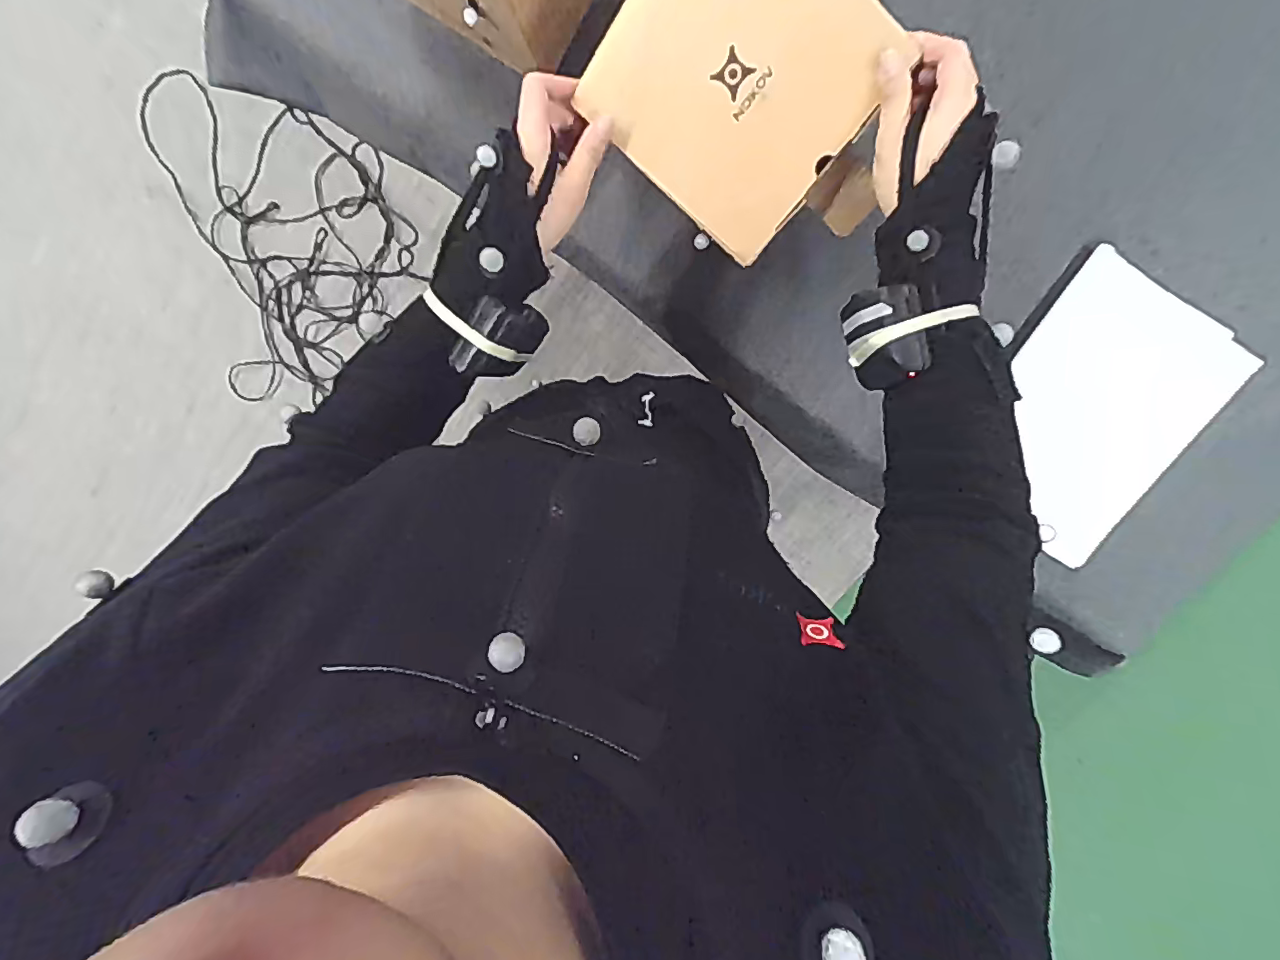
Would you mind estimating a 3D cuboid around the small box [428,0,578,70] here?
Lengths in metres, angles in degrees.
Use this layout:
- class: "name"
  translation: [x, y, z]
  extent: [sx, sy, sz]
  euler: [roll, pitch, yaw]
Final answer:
- class: "small box"
  translation: [-0.126, -0.495, 0.440]
  extent: [0.168, 0.176, 0.179]
  euler: [31, 100, -3]
